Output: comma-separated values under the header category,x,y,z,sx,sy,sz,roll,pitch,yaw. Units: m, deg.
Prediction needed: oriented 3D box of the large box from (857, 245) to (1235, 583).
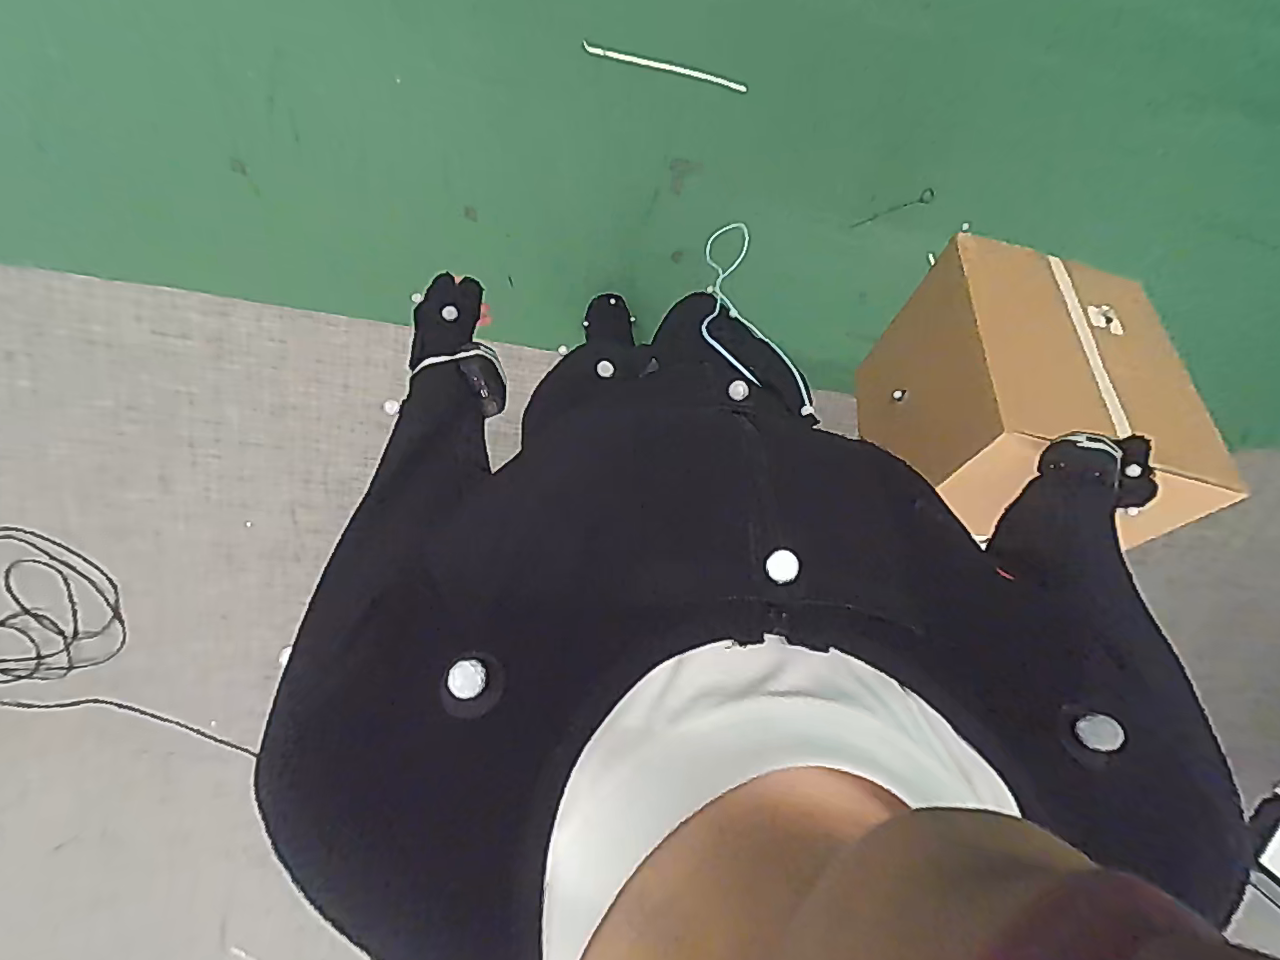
category,x,y,z,sx,sy,sz,roll,pitch,yaw
large box,0.576,-0.097,0.873,0.320,0.408,0.320,14,146,-3
